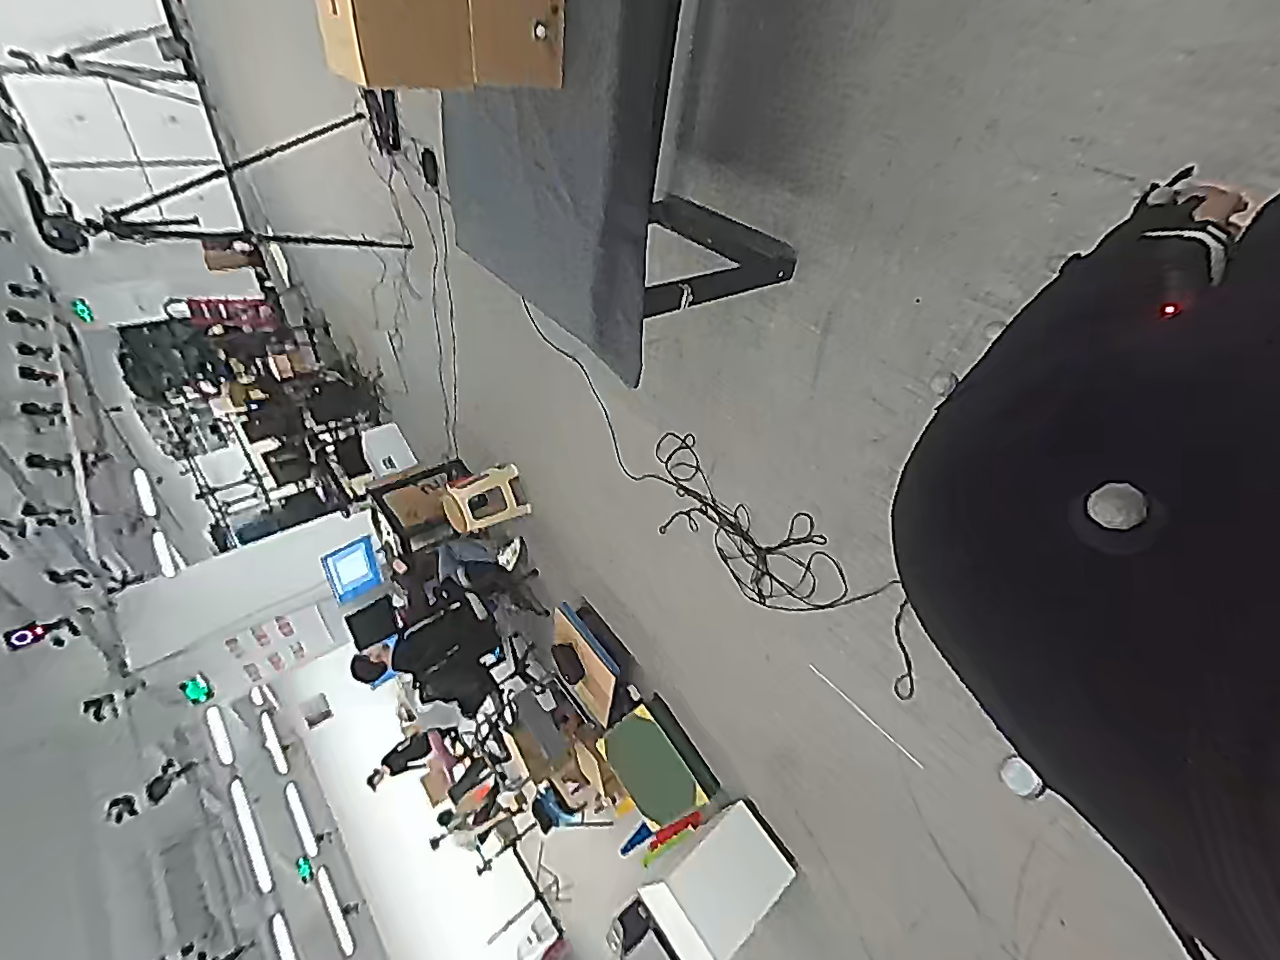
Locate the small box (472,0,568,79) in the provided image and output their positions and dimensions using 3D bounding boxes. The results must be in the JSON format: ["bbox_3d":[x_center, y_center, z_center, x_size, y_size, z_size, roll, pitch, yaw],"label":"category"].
[{"bbox_3d":[-0.234,-0.771,0.882,0.179,0.176,0.168,41,141,30],"label":"small box"}]

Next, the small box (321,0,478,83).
[{"bbox_3d":[-0.357,-0.707,0.797,0.168,0.176,0.179,42,142,32],"label":"small box"}]
